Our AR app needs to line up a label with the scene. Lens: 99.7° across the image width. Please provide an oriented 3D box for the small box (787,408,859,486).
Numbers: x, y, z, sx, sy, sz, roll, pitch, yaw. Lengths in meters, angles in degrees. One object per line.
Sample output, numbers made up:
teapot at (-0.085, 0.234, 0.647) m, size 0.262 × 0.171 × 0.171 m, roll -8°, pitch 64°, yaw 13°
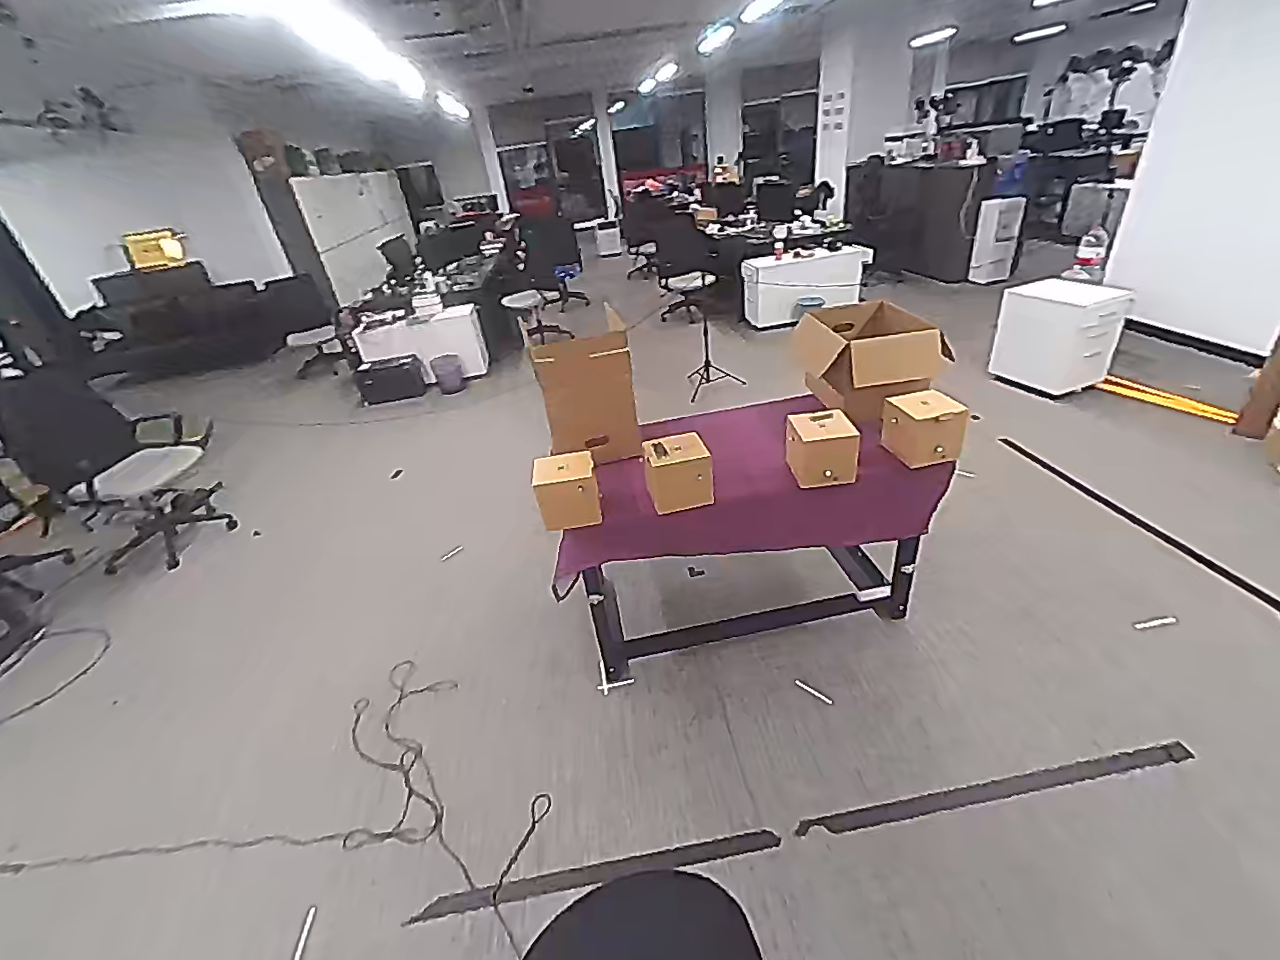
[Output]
small box at (0.555, -0.102, 1.665) m, size 0.168 × 0.176 × 0.179 m, roll -7°, pitch 33°, yaw 2°

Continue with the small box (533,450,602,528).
small box at (-0.217, 0.028, 1.637) m, size 0.179 × 0.176 × 0.168 m, roll -8°, pitch 31°, yaw -3°

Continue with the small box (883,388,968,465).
small box at (0.881, -0.168, 1.690) m, size 0.168 × 0.176 × 0.179 m, roll -12°, pitch 32°, yaw -3°
